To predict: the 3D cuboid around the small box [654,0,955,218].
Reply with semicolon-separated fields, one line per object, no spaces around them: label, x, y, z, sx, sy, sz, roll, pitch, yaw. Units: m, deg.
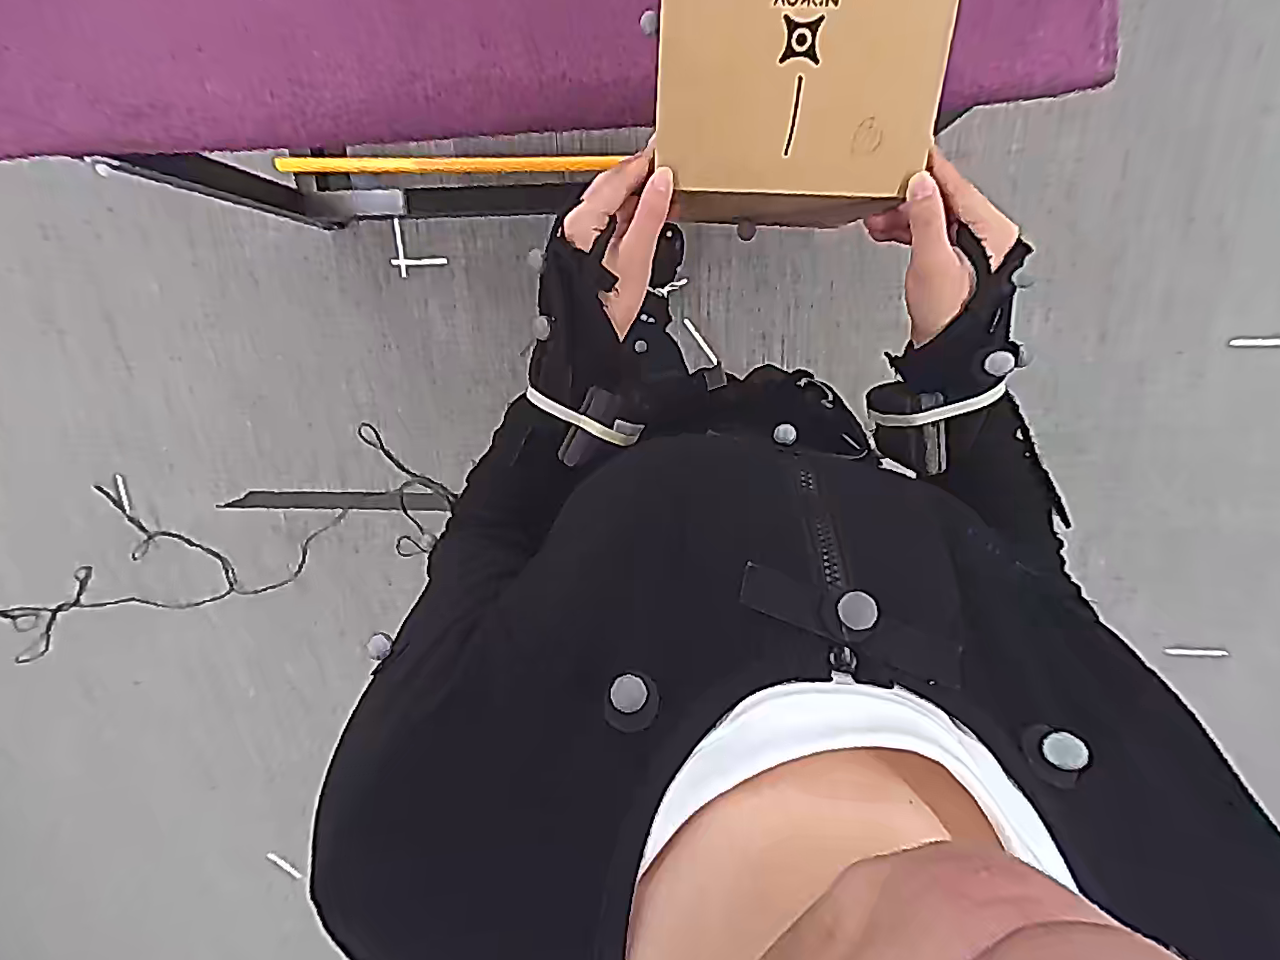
small box;0.096;-0.295;0.379;0.168;0.176;0.179;3;110;2
